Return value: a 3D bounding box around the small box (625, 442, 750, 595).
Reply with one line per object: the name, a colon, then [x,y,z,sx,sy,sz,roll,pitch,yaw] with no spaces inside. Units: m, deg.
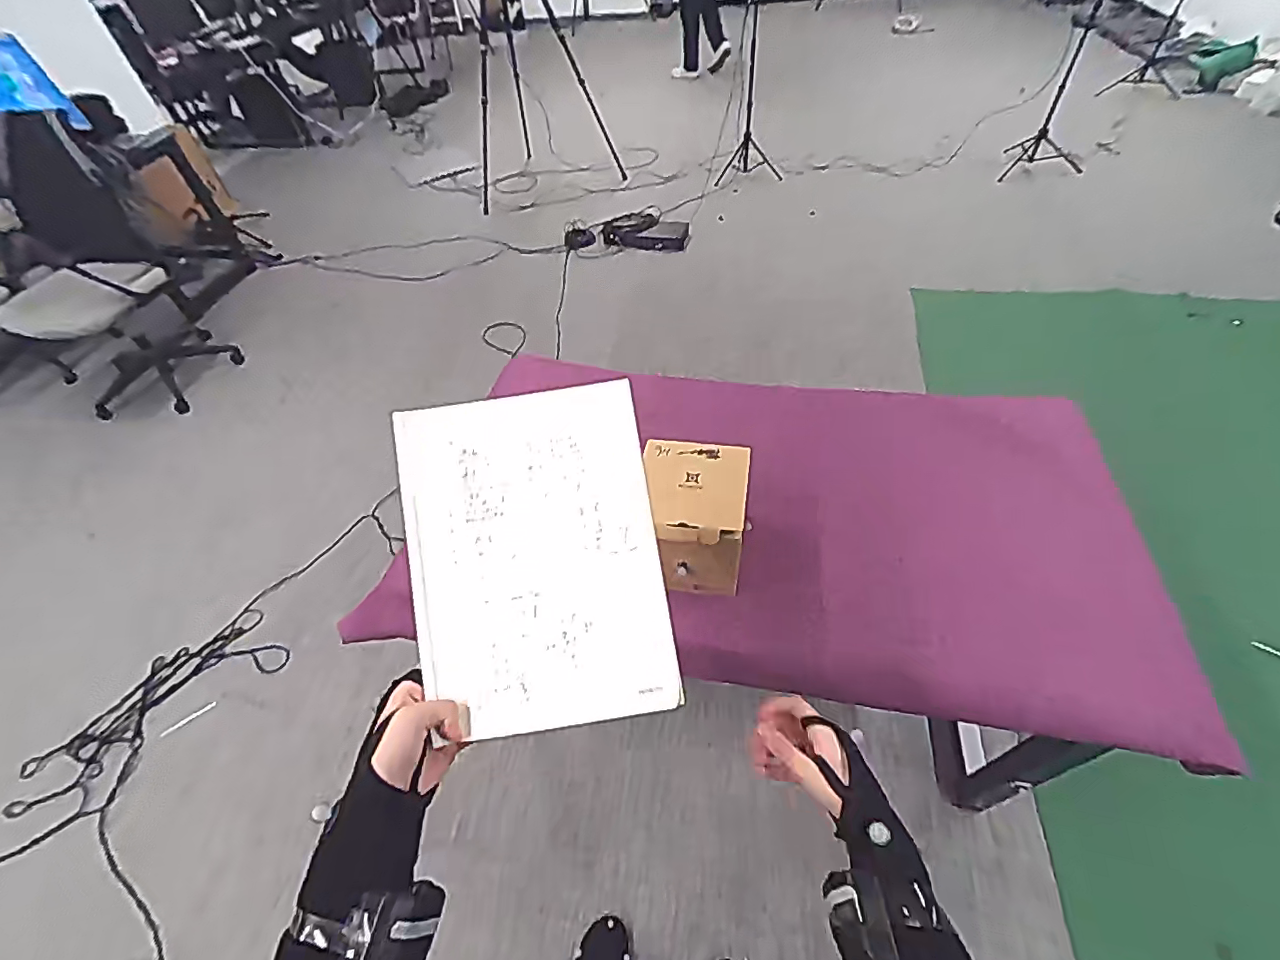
small box: [0.081,0.064,0.866,0.168,0.176,0.179,6,51,11]
